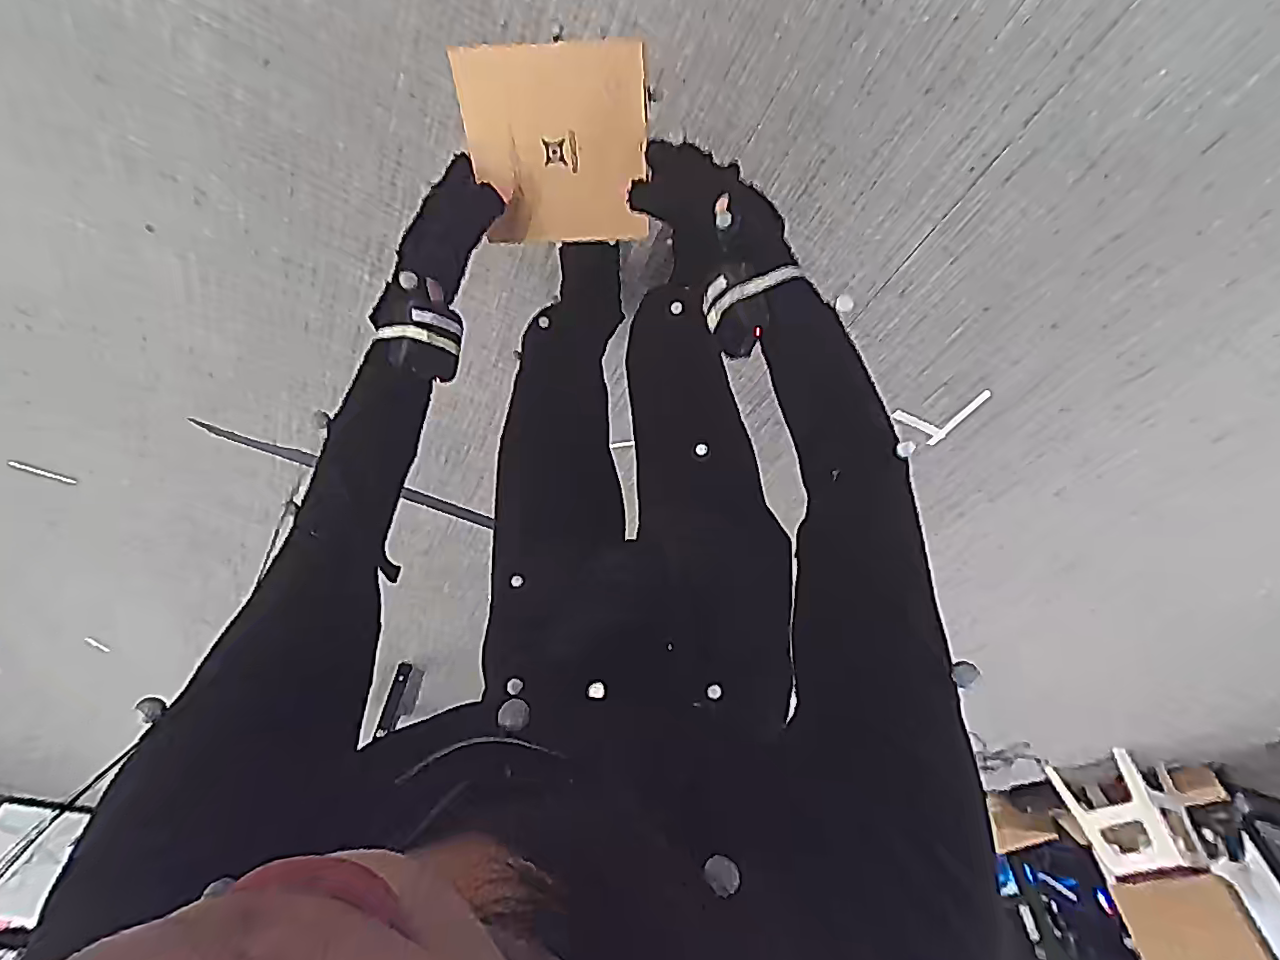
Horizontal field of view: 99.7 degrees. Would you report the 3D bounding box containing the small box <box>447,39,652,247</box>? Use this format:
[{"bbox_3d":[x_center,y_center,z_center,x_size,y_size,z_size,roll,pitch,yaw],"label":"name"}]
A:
[{"bbox_3d":[-0.076,-0.356,0.569,0.179,0.176,0.168,0,128,3],"label":"small box"}]
